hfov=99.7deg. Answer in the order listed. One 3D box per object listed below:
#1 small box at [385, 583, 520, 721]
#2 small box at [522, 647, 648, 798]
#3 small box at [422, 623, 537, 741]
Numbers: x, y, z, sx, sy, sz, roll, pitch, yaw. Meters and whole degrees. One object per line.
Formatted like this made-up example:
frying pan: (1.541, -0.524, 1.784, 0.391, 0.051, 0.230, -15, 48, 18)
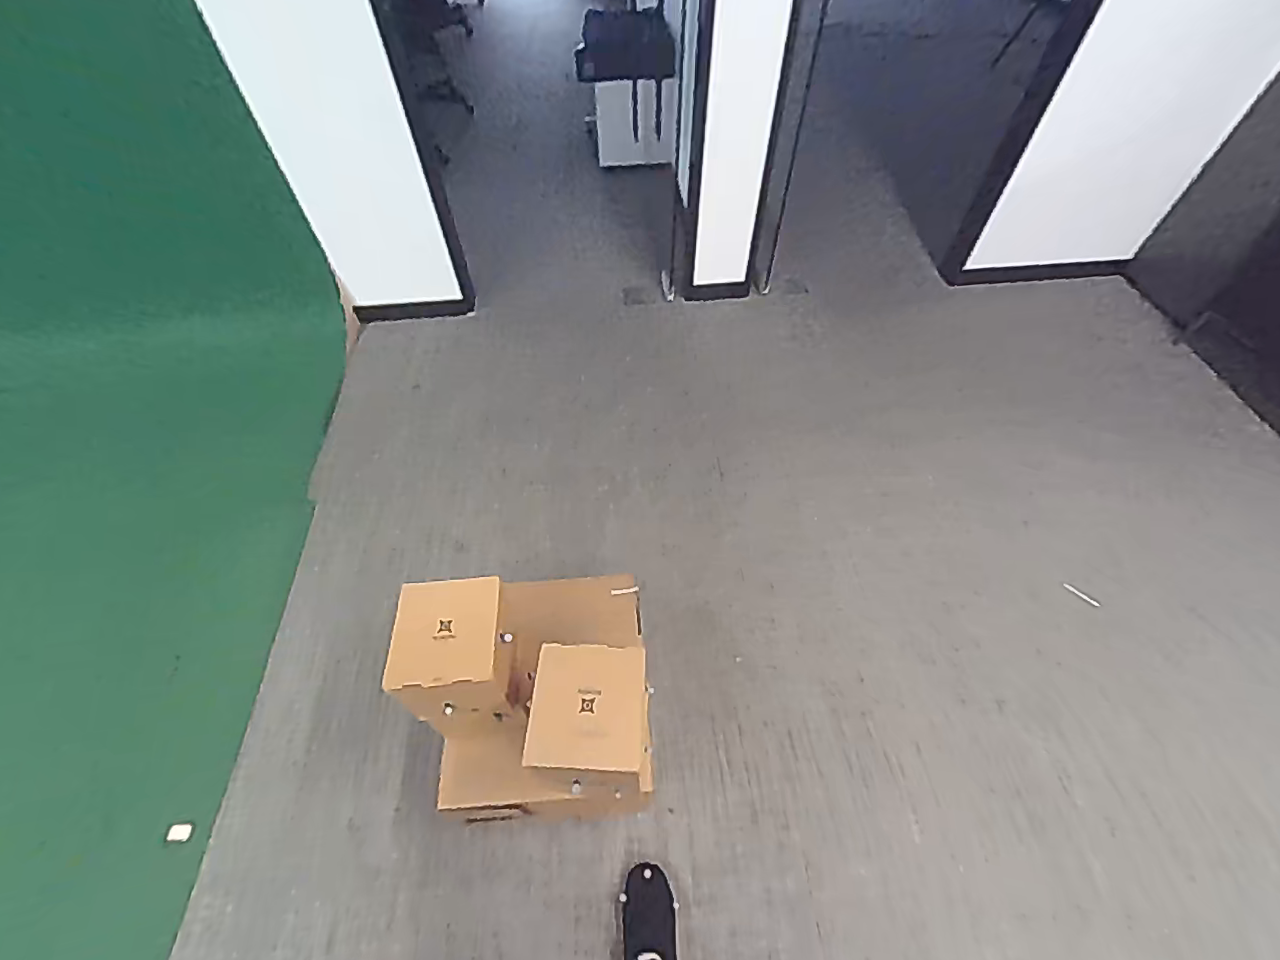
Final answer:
small box: (-0.305, 0.295, 0.924, 0.168, 0.176, 0.179, -3, 52, -2)
small box: (-0.076, 0.383, 0.851, 0.168, 0.176, 0.179, 3, 53, 3)
small box: (-0.299, 0.395, 1.053, 0.179, 0.176, 0.168, -5, 51, -3)
